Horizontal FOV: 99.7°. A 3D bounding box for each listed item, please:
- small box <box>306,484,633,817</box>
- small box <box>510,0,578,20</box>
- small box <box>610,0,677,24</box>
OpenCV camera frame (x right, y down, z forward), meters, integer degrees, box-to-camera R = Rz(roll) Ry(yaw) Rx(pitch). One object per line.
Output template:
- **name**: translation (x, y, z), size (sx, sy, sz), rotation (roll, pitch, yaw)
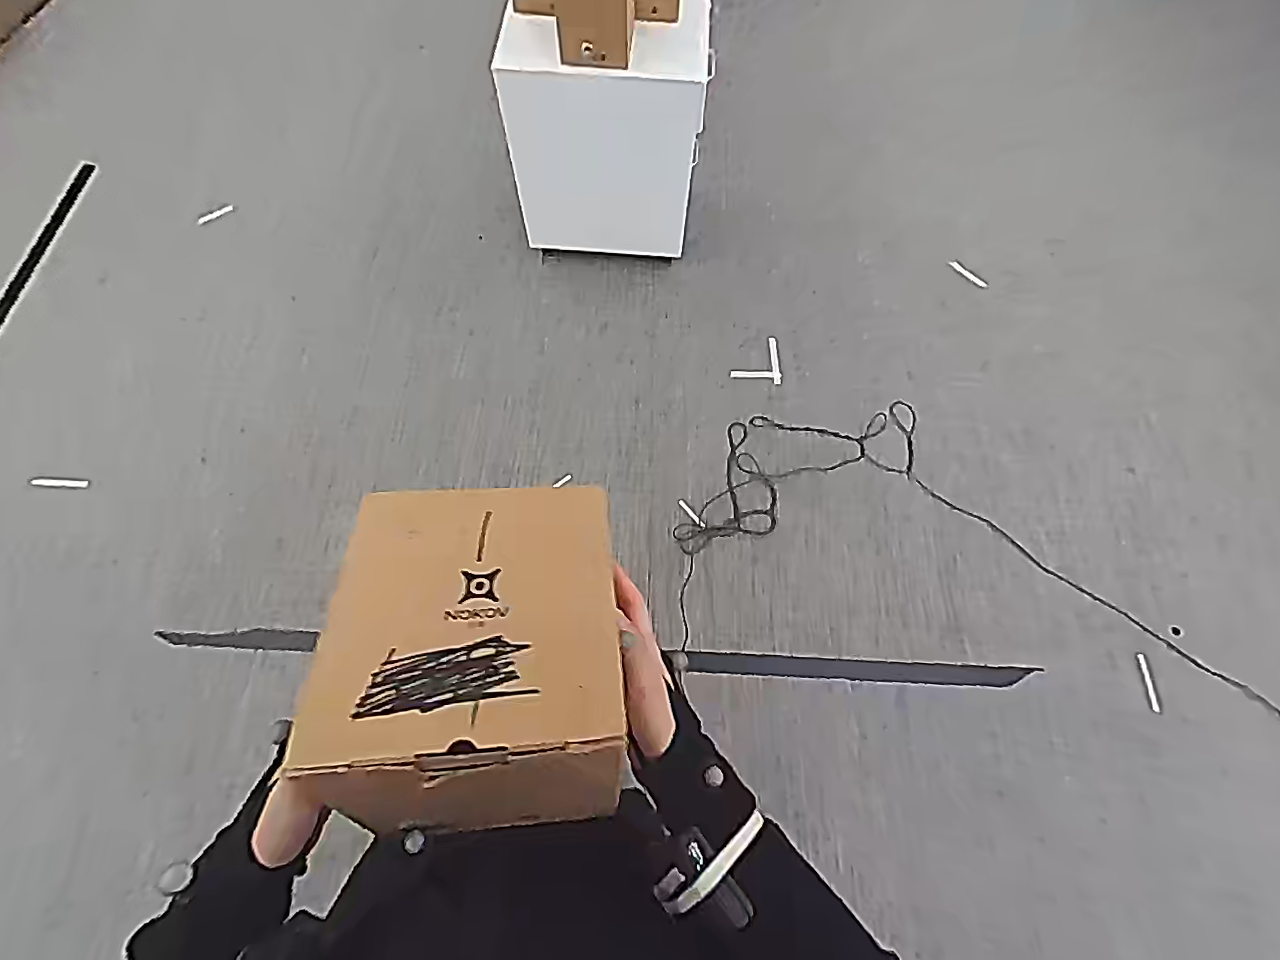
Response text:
- **small box**: translation (-0.095, 0.123, 0.384), size (0.168, 0.176, 0.179), rotation (-1, 47, -7)
- **small box**: translation (-0.239, -1.280, 1.330), size (0.168, 0.176, 0.179), rotation (4, 70, -1)
- **small box**: translation (0.012, -1.269, 1.332), size (0.168, 0.176, 0.179), rotation (4, 68, 1)
